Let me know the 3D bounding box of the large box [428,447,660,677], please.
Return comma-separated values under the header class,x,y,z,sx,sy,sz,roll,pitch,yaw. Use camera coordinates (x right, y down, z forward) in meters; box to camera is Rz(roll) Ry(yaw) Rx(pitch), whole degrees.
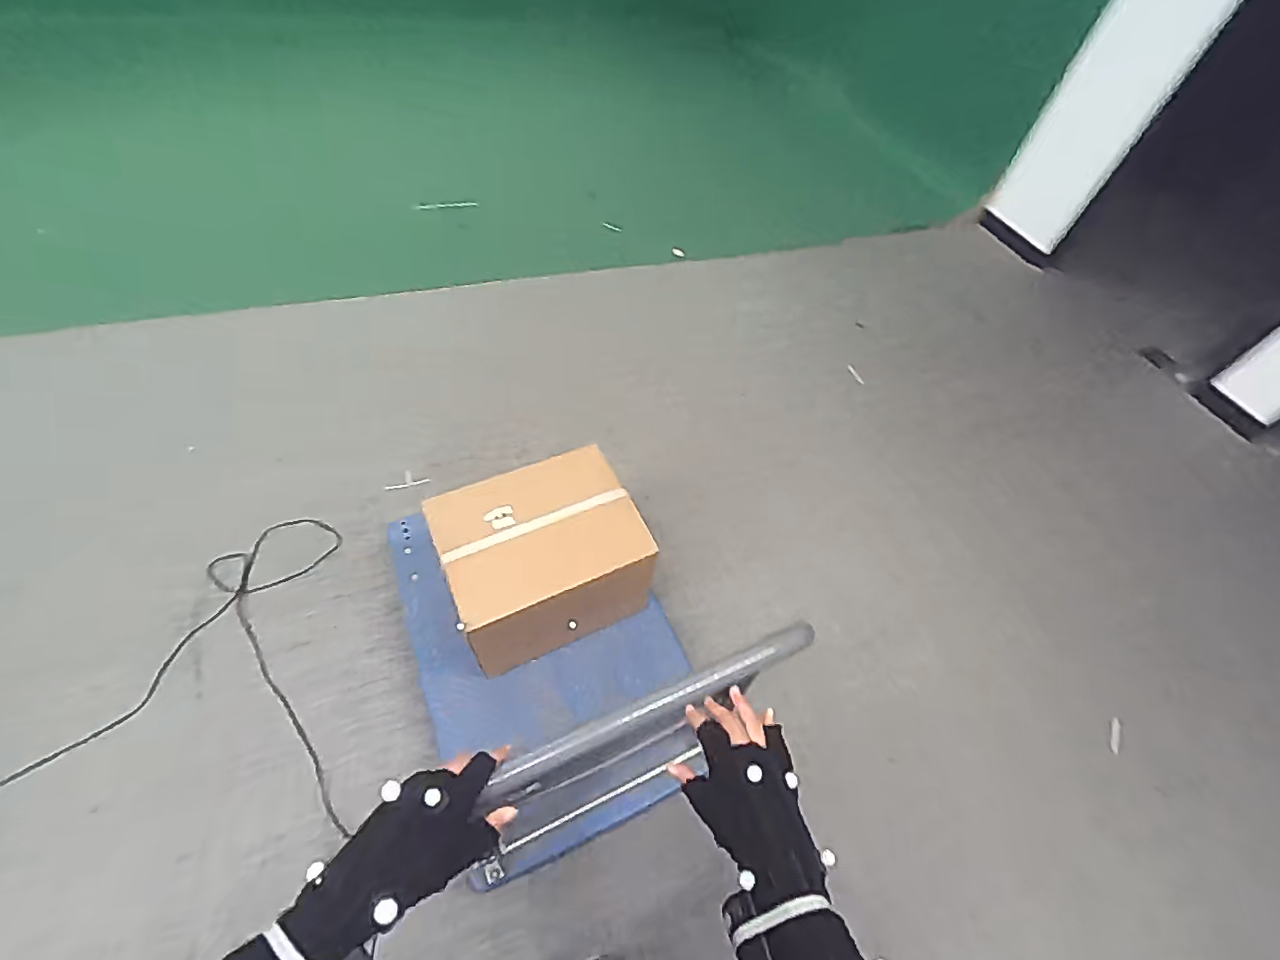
class,x,y,z,sx,sy,sz,roll,pitch,yaw
large box,-0.212,0.188,1.243,0.408,0.320,0.320,-21,59,-20
